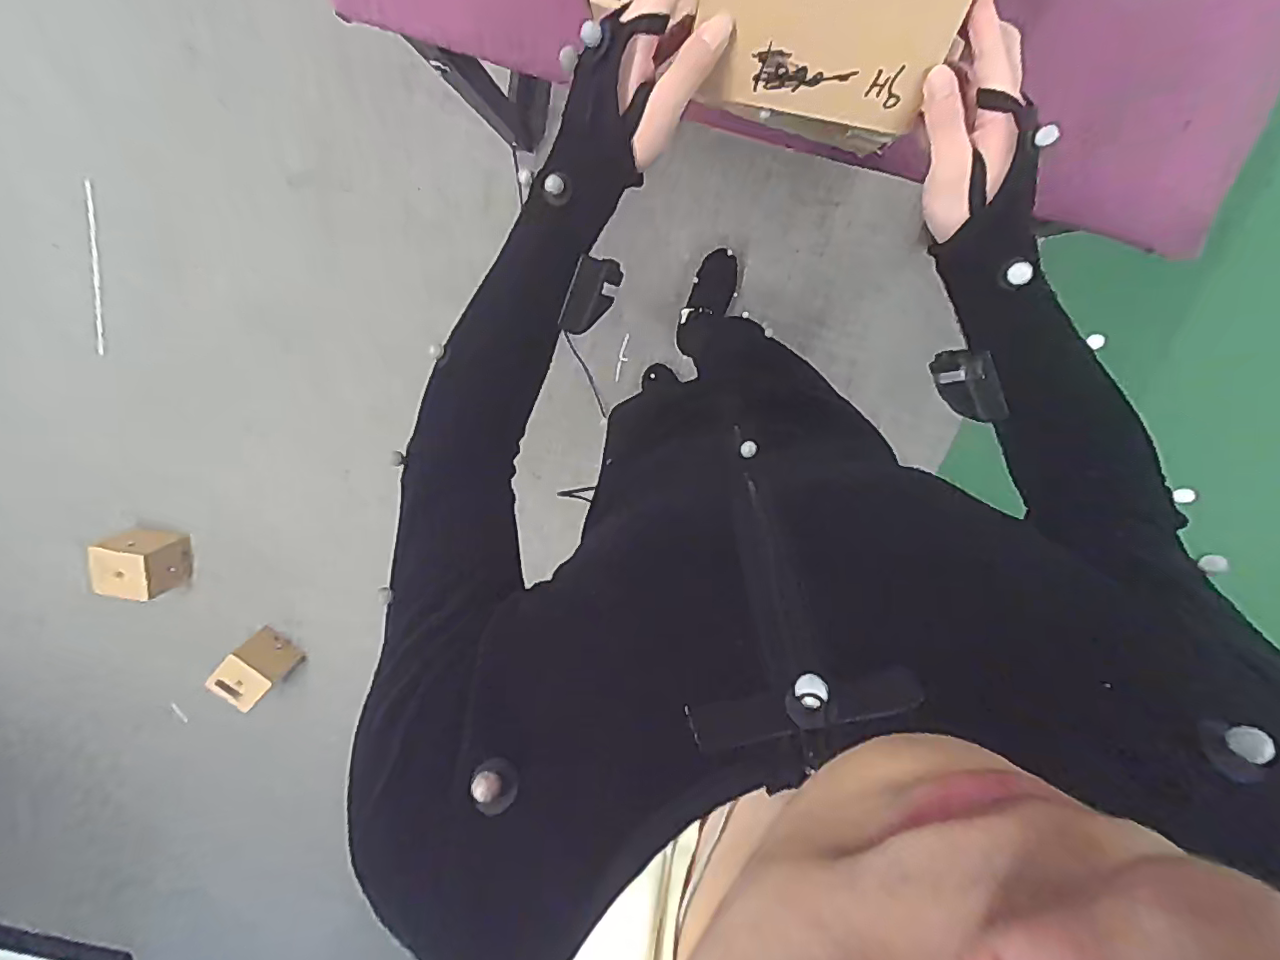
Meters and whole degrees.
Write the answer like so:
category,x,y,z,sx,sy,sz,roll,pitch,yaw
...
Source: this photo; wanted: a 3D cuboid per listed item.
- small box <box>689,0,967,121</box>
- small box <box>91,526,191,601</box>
category,x,y,z,sx,sy,sz,roll,pitch,yaw
small box,0.131,-0.384,0.365,0.168,0.176,0.179,9,141,-4
small box,-1.593,0.264,1.742,0.179,0.176,0.168,11,107,0
